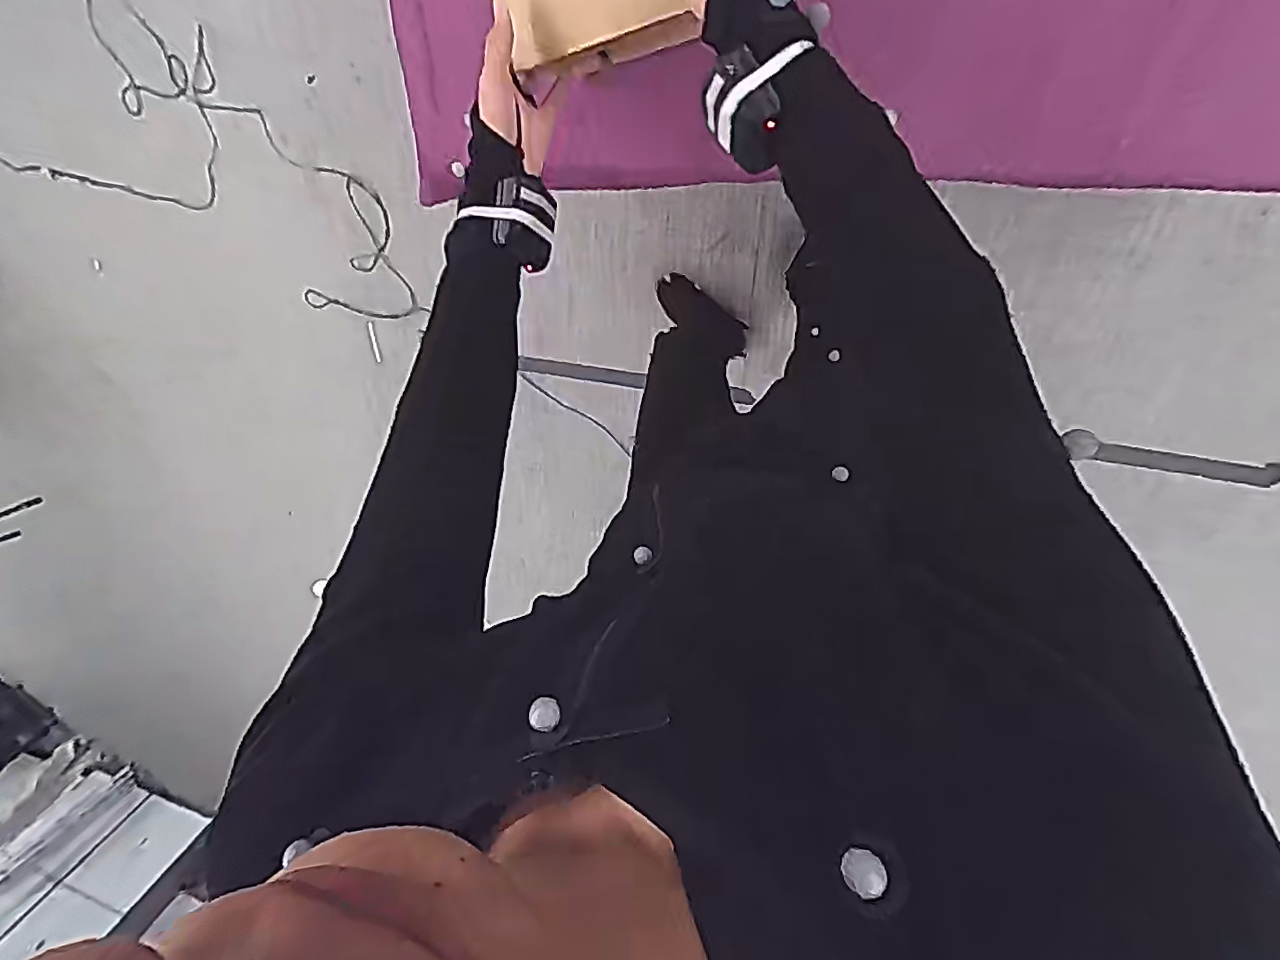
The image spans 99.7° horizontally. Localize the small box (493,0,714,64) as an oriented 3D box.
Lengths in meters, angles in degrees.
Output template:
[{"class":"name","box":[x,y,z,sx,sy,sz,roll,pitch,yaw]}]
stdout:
[{"class":"small box","box":[-0.036,-0.499,0.488,0.179,0.176,0.168,-3,123,16]}]
